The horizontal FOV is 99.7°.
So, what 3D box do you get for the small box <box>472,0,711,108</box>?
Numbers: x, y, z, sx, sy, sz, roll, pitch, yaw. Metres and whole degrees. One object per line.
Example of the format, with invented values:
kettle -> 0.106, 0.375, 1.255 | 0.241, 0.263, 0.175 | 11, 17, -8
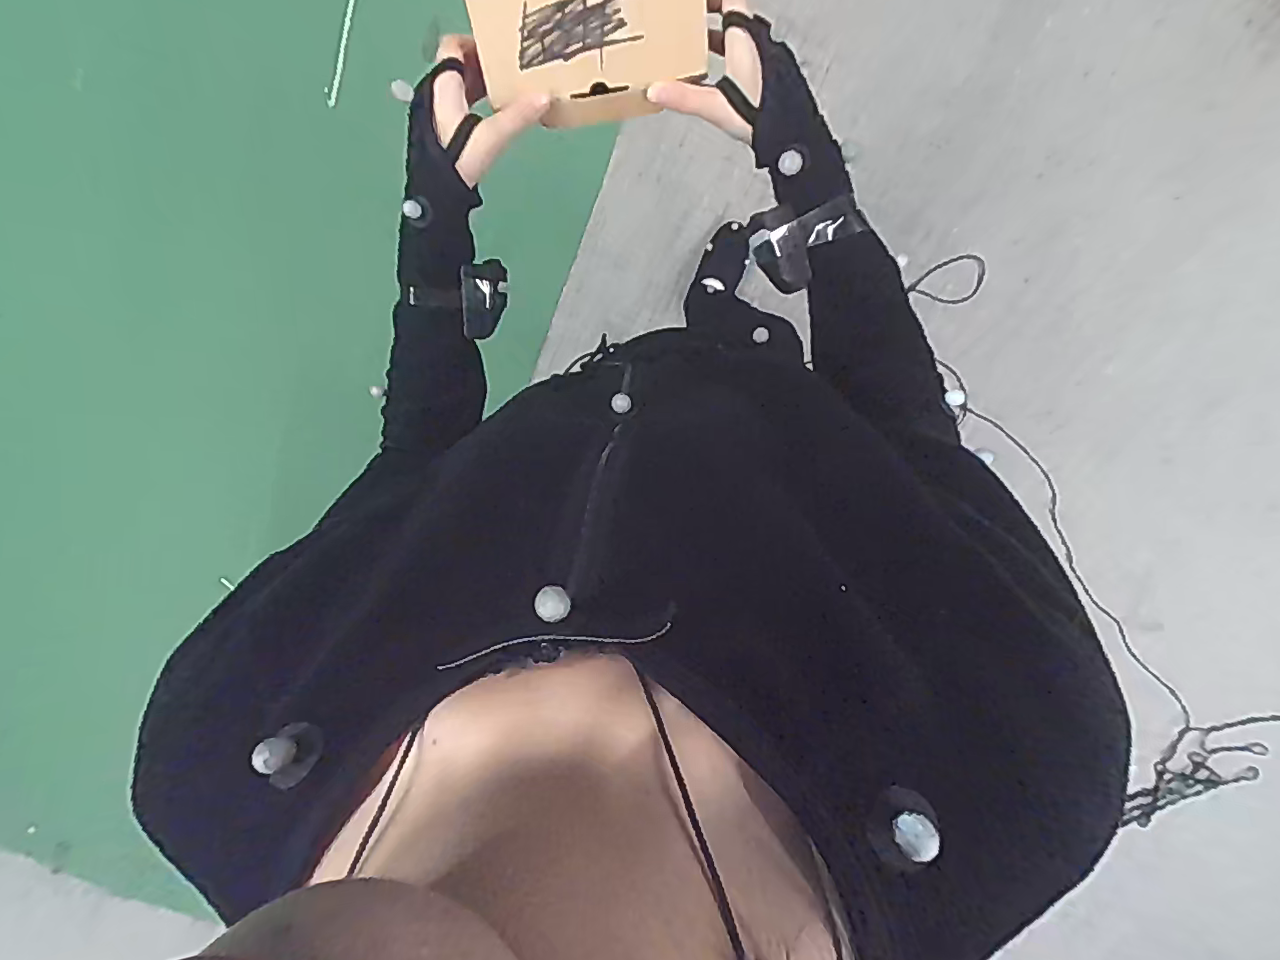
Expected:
small box -> -0.036, -0.403, 0.416 | 0.168, 0.176, 0.179 | -6, 123, 4
